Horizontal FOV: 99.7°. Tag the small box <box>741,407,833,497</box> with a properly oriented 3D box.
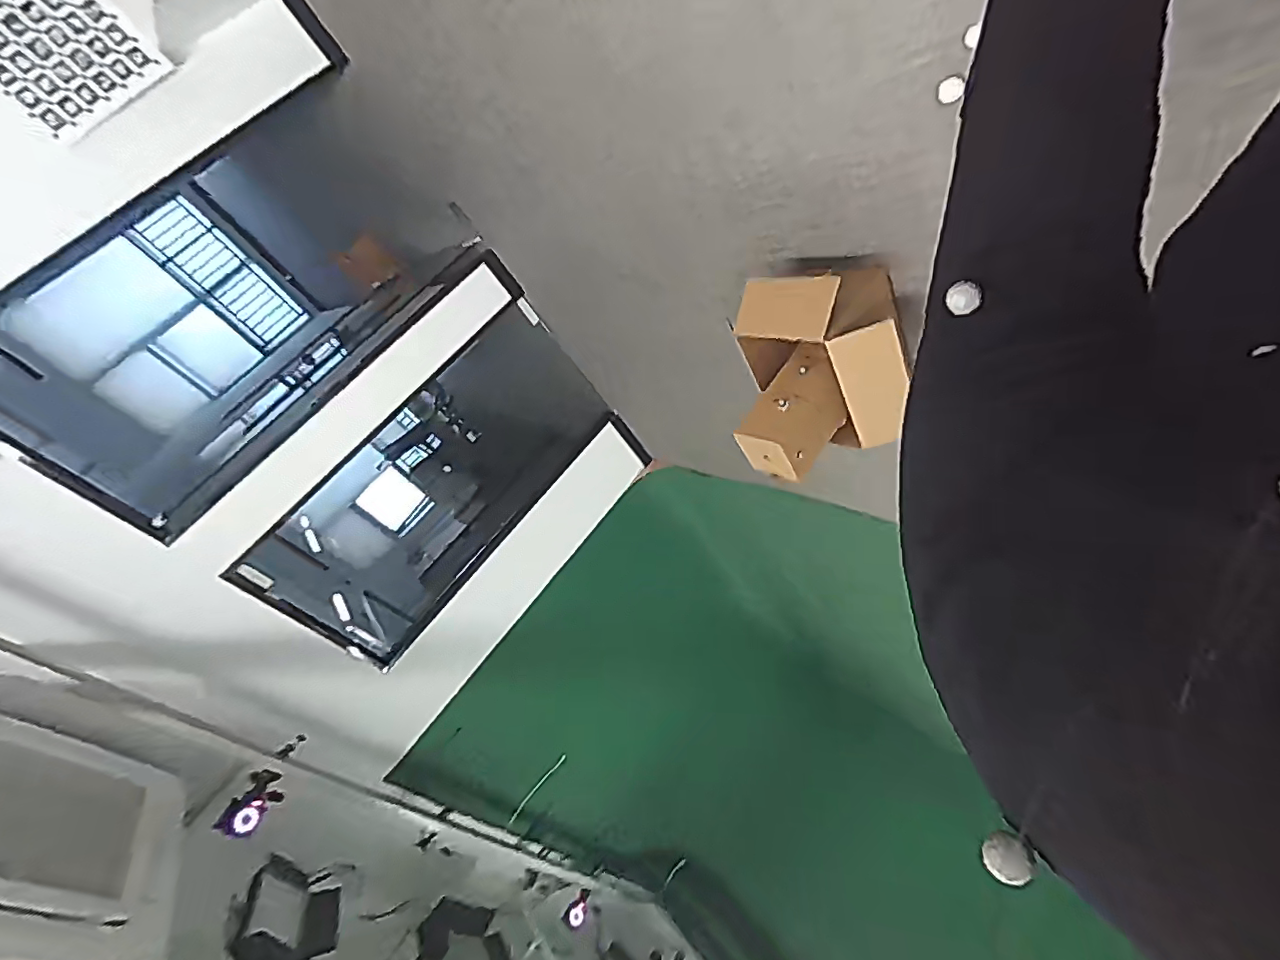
[{"bbox_3d":[0.428,-0.083,1.552,0.168,0.176,0.179,19,155,48],"label":"small box"}]
